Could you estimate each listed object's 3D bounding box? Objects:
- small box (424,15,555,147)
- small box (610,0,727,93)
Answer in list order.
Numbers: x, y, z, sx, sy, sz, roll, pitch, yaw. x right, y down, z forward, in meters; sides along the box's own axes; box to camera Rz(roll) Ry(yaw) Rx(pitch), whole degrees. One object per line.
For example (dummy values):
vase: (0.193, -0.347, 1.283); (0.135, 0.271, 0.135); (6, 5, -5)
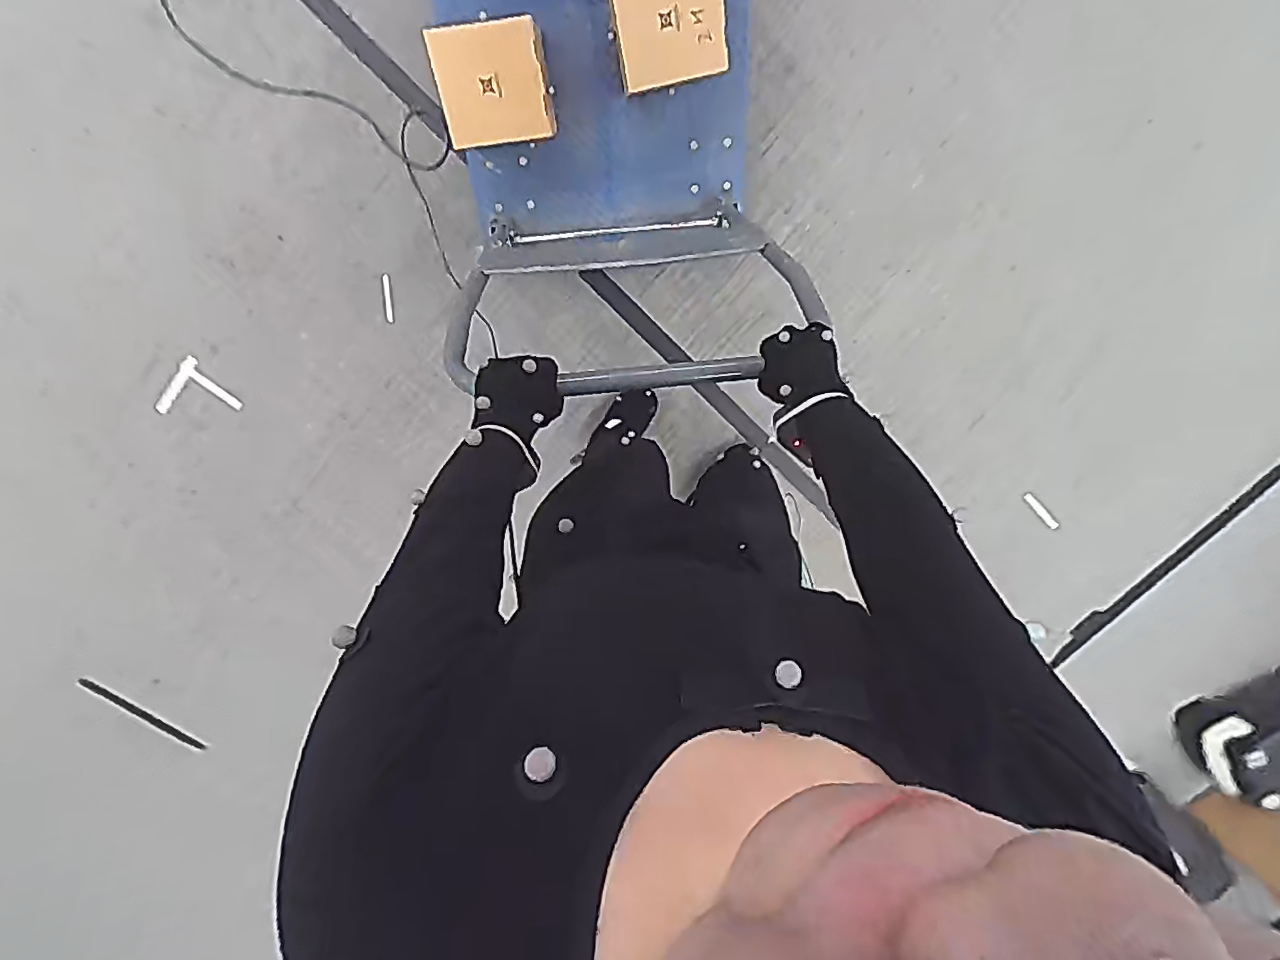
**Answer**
small box: (-0.256, -0.702, 0.967); (0.179, 0.176, 0.168); (-9, 124, 0)
small box: (0.044, -0.785, 0.933); (0.179, 0.176, 0.168); (-11, 125, 4)
